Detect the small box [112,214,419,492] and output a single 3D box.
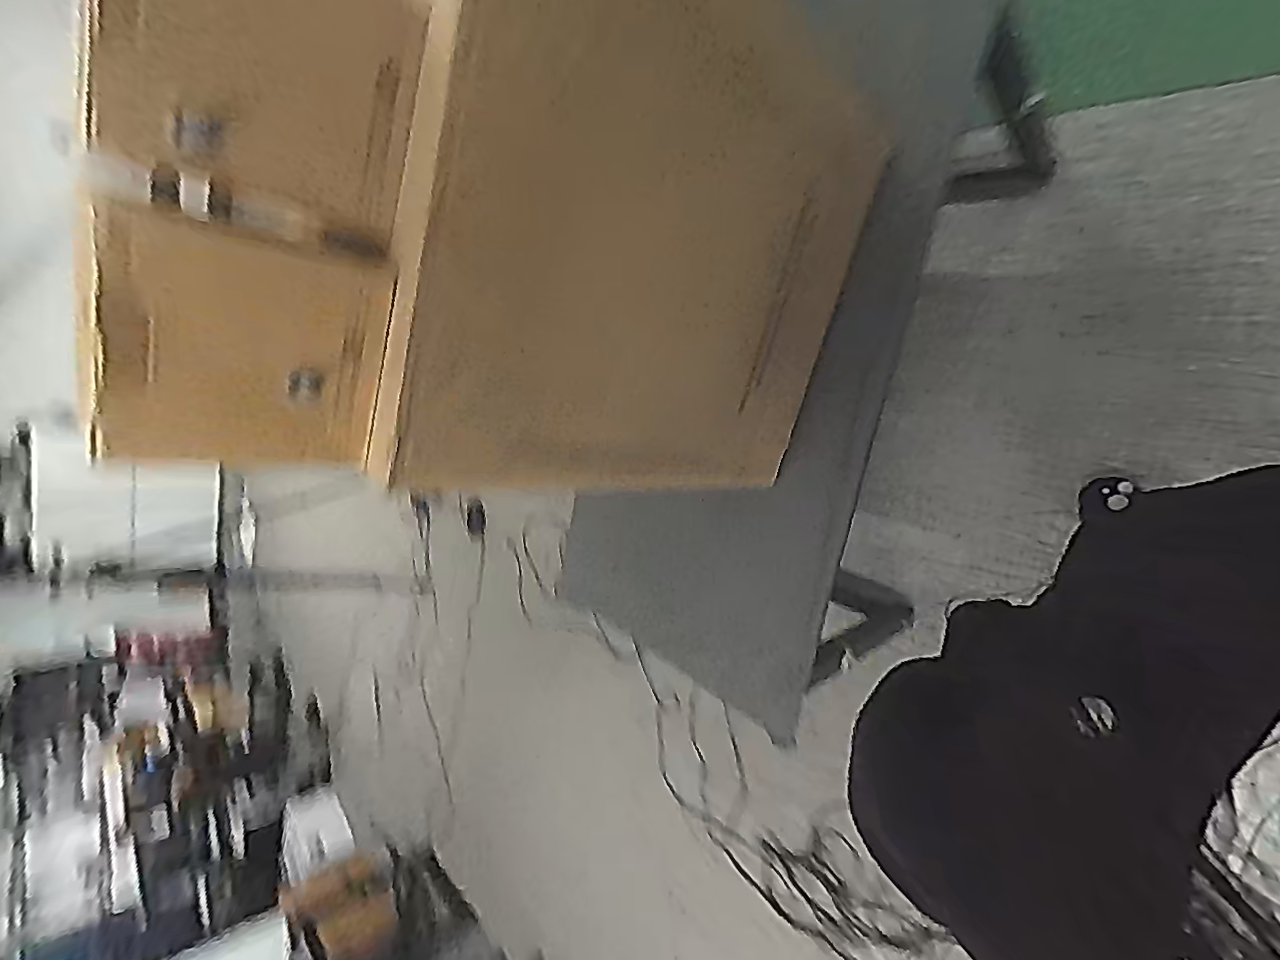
[{"bbox_3d":[-0.310,-0.099,0.445,0.179,0.176,0.168,29,111,37],"label":"small box"}]
